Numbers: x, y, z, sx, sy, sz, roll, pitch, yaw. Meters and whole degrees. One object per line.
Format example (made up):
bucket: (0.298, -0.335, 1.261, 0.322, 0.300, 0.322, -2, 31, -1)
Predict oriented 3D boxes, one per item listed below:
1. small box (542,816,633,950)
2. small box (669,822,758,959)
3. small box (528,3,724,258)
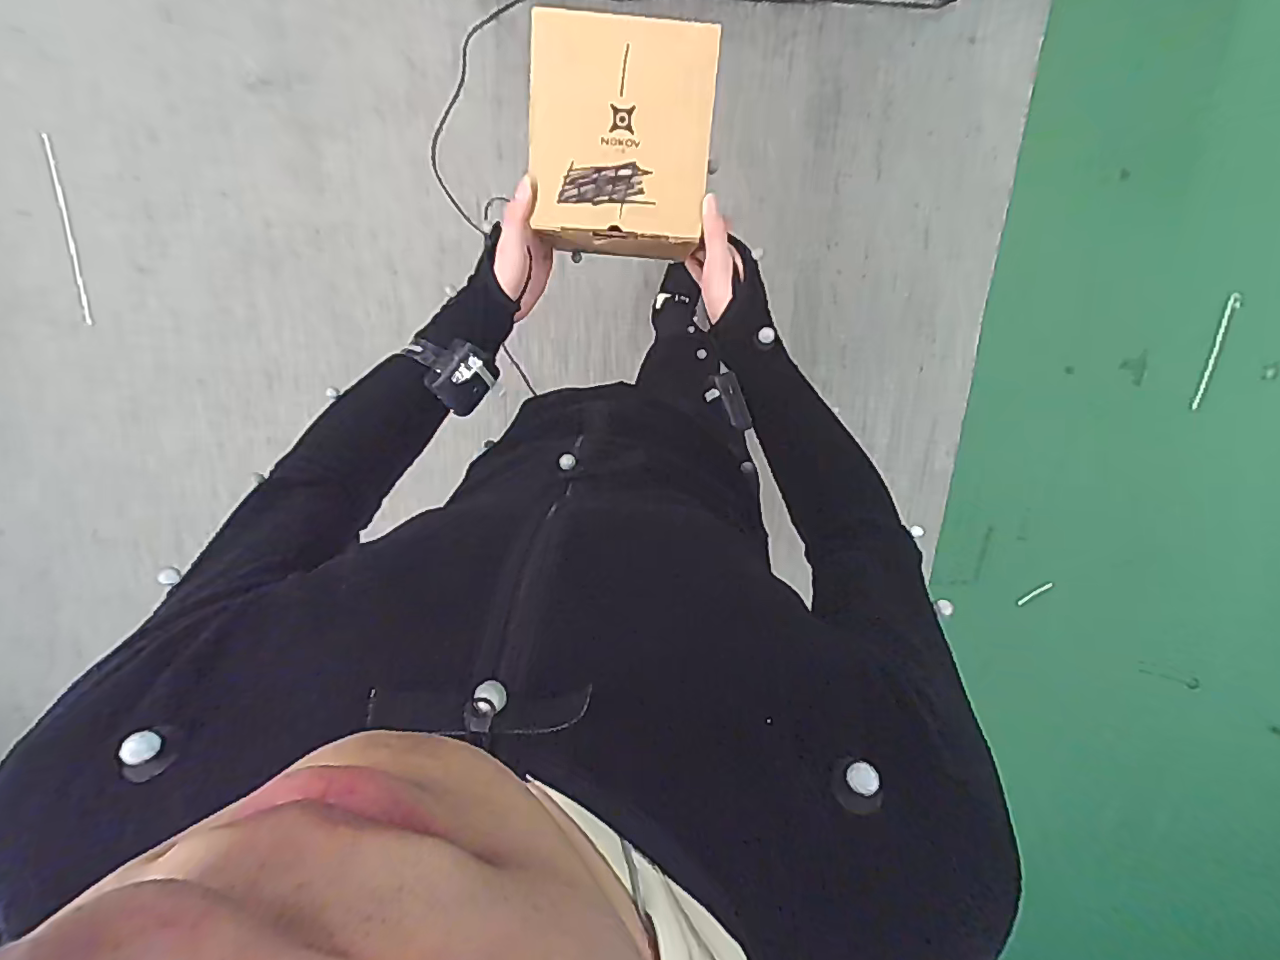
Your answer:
small box: (-0.109, 0.875, 1.186, 0.179, 0.176, 0.168, 6, 104, 0)
small box: (0.152, 0.895, 1.184, 0.168, 0.176, 0.179, 4, 106, -1)
small box: (-0.017, -0.335, 0.558, 0.168, 0.176, 0.179, 4, 105, -3)
